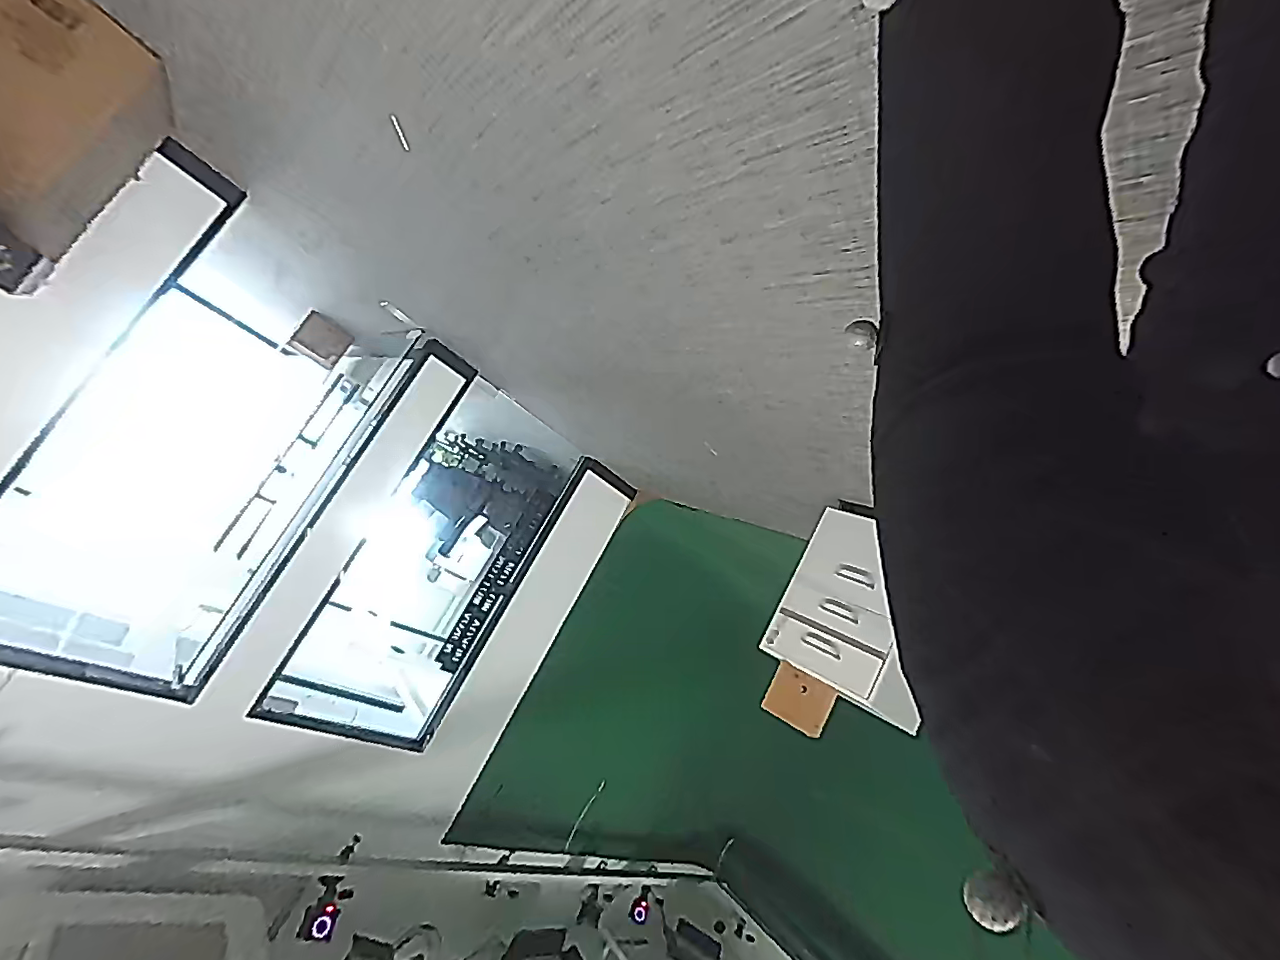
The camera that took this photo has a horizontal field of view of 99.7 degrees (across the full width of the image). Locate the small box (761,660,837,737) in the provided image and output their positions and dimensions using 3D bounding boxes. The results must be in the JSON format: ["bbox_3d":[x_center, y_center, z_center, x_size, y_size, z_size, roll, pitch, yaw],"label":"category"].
[{"bbox_3d":[0.522,0.708,1.754,0.168,0.176,0.179,21,167,35],"label":"small box"}]
